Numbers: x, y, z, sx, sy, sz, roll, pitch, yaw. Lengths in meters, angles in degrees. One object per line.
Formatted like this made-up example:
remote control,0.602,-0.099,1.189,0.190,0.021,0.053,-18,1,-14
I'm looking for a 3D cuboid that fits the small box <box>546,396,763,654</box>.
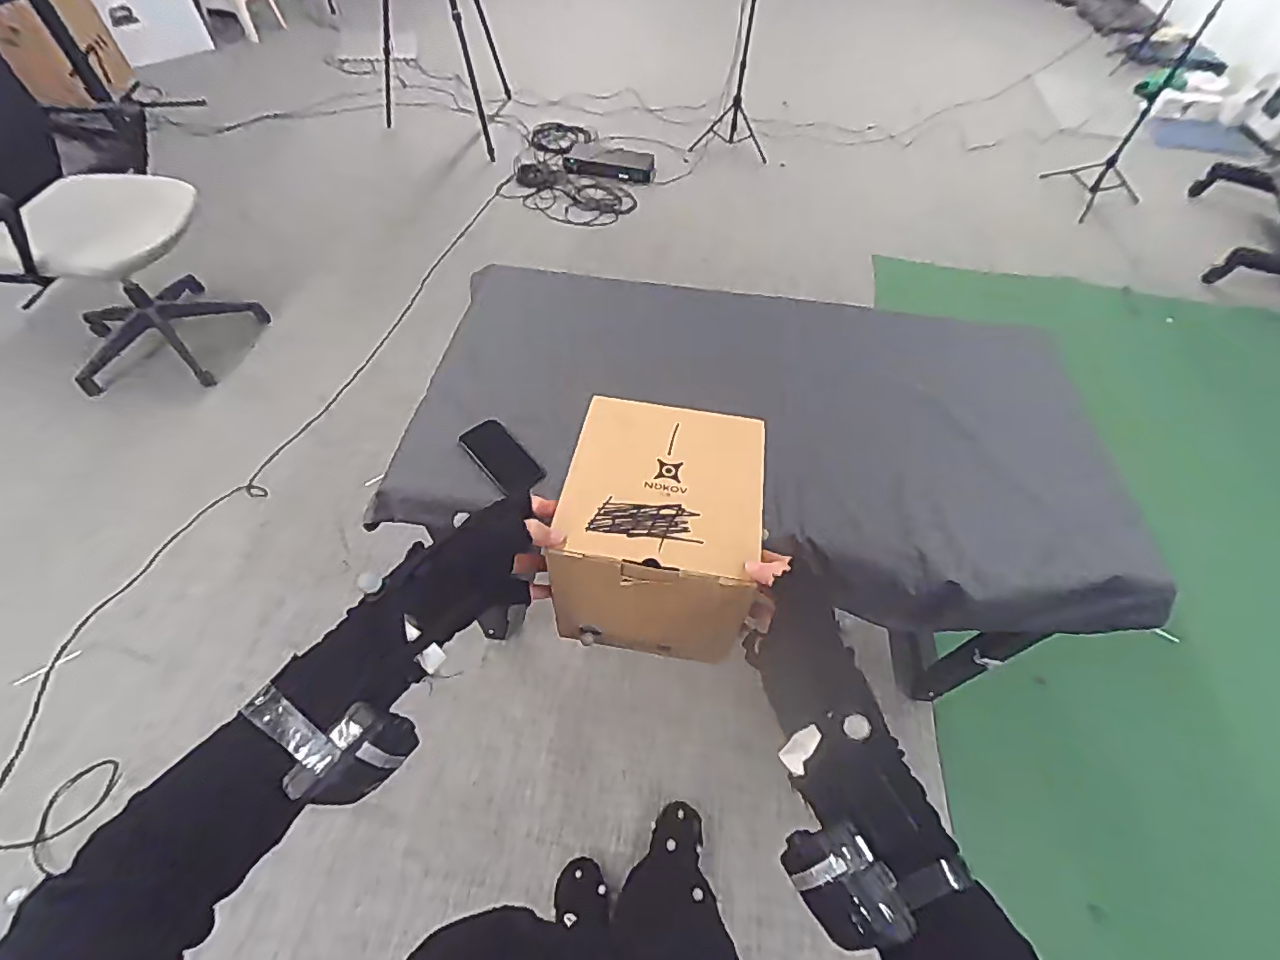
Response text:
small box,0.017,0.048,0.524,0.168,0.176,0.179,9,50,3
